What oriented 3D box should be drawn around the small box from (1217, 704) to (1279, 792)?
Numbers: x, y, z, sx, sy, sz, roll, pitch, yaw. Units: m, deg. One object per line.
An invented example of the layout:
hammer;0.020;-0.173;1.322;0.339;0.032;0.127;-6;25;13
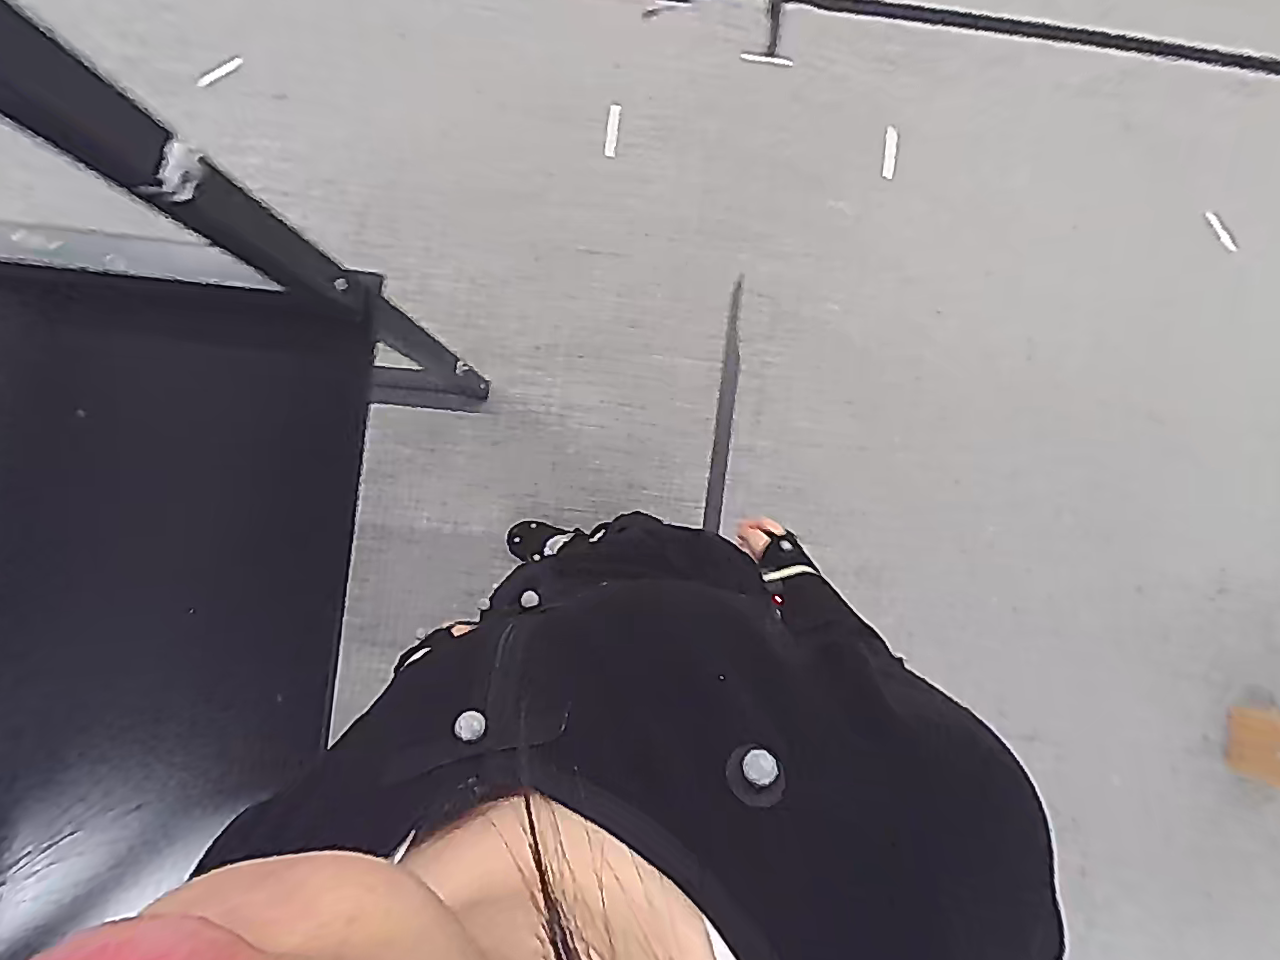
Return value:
small box;1.769;0.747;1.498;0.168;0.176;0.179;6;87;-2
